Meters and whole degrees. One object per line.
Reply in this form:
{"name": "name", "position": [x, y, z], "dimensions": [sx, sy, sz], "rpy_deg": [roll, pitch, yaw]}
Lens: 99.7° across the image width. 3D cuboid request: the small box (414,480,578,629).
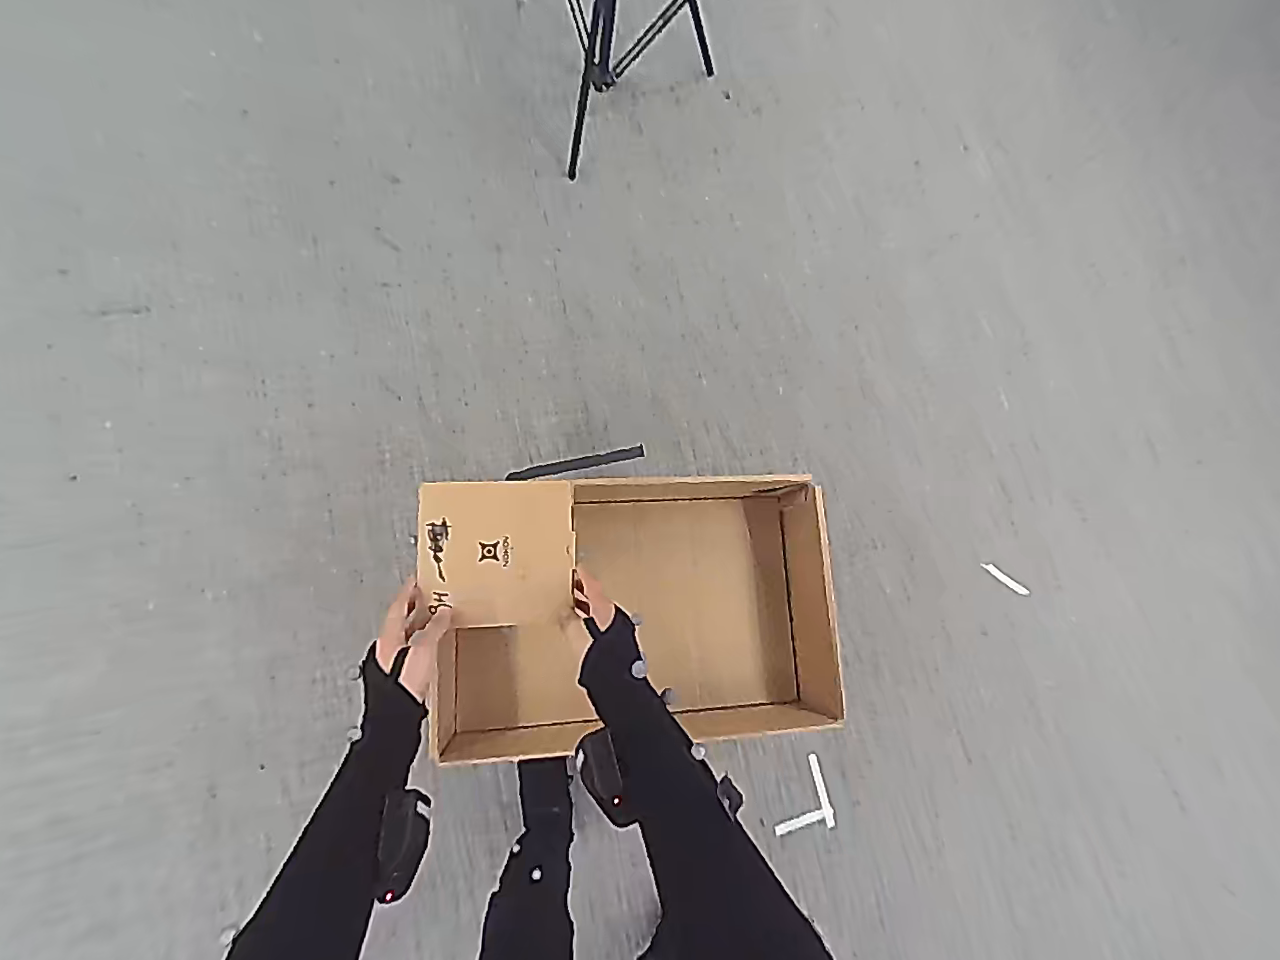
{"name": "small box", "position": [-0.172, 0.096, 0.684], "dimensions": [0.179, 0.176, 0.168], "rpy_deg": [0, 78, -9]}
